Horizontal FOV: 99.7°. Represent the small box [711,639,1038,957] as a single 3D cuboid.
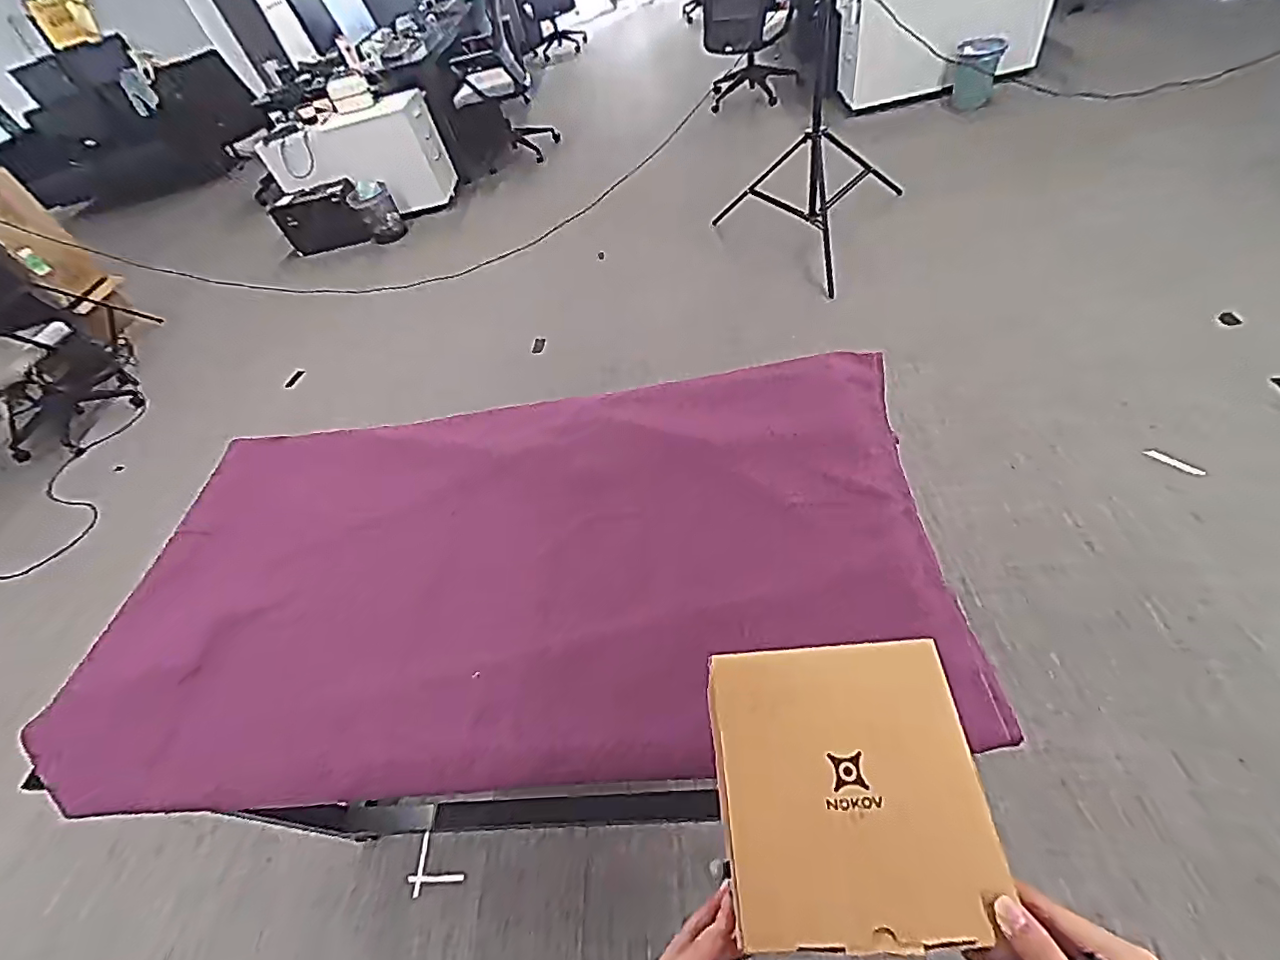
[{"bbox_3d":[0.146,0.237,0.417,0.168,0.176,0.179,-6,58,4],"label":"small box"}]
